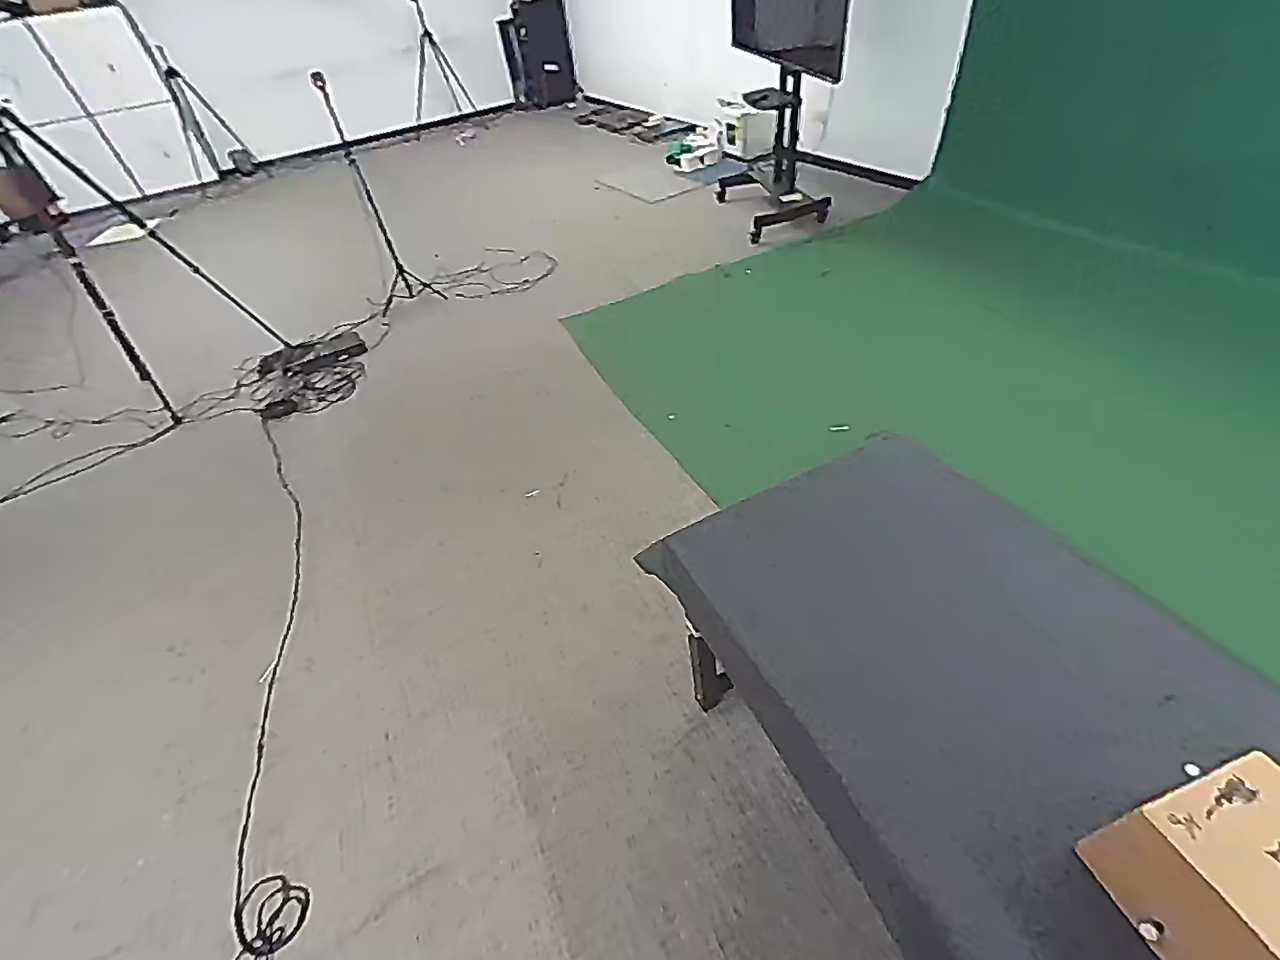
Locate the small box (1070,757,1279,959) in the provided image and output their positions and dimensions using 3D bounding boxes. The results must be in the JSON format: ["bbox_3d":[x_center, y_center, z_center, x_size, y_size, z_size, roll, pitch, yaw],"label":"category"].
[{"bbox_3d":[0.626,0.436,0.575,0.168,0.176,0.179,-18,45,-8],"label":"small box"}]
